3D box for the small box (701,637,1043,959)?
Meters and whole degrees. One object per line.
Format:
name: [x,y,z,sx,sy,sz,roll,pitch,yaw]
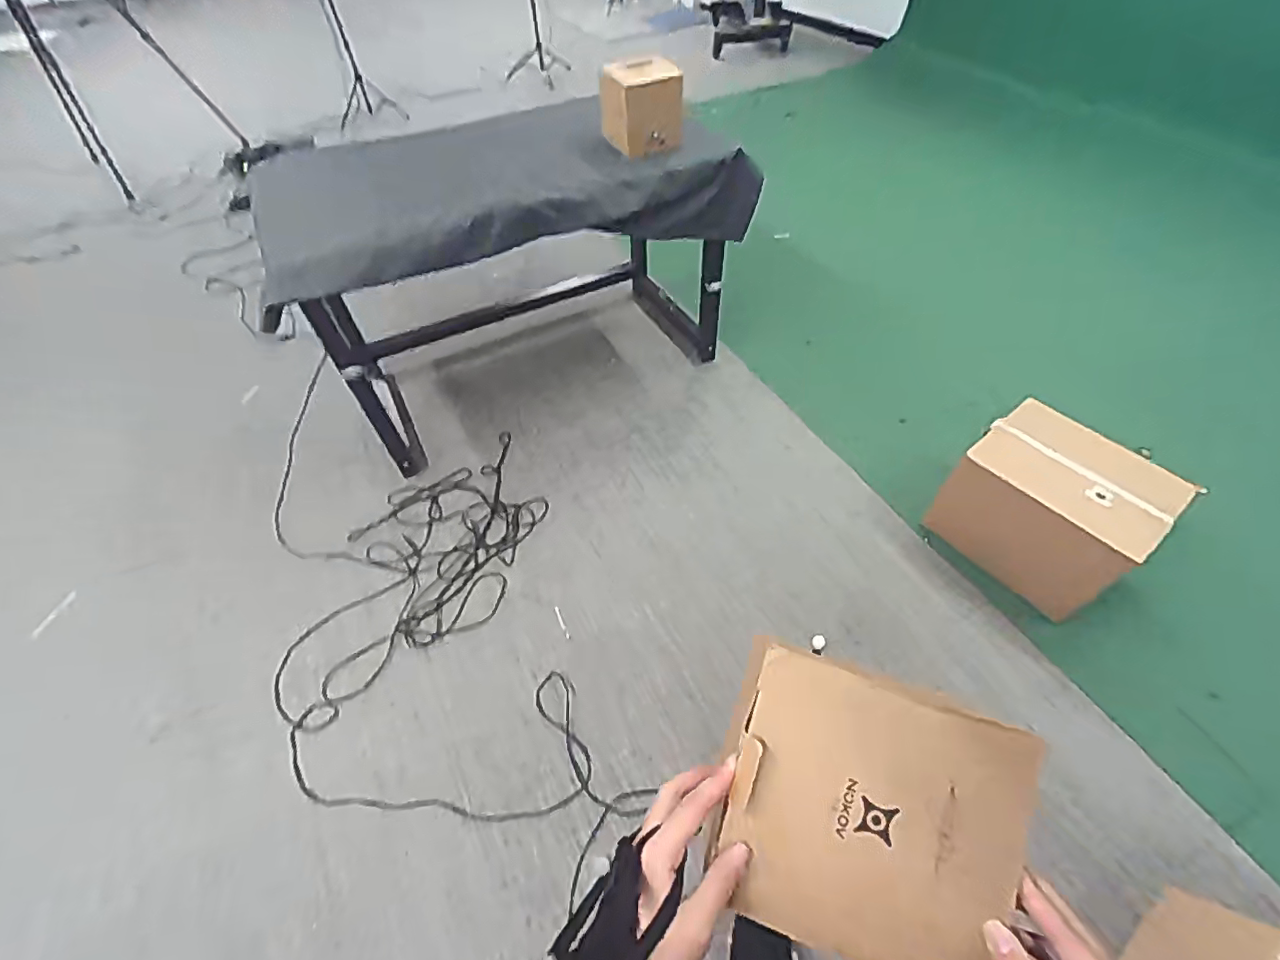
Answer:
small box: [0.154,0.225,0.412,0.179,0.176,0.168,15,80,12]
